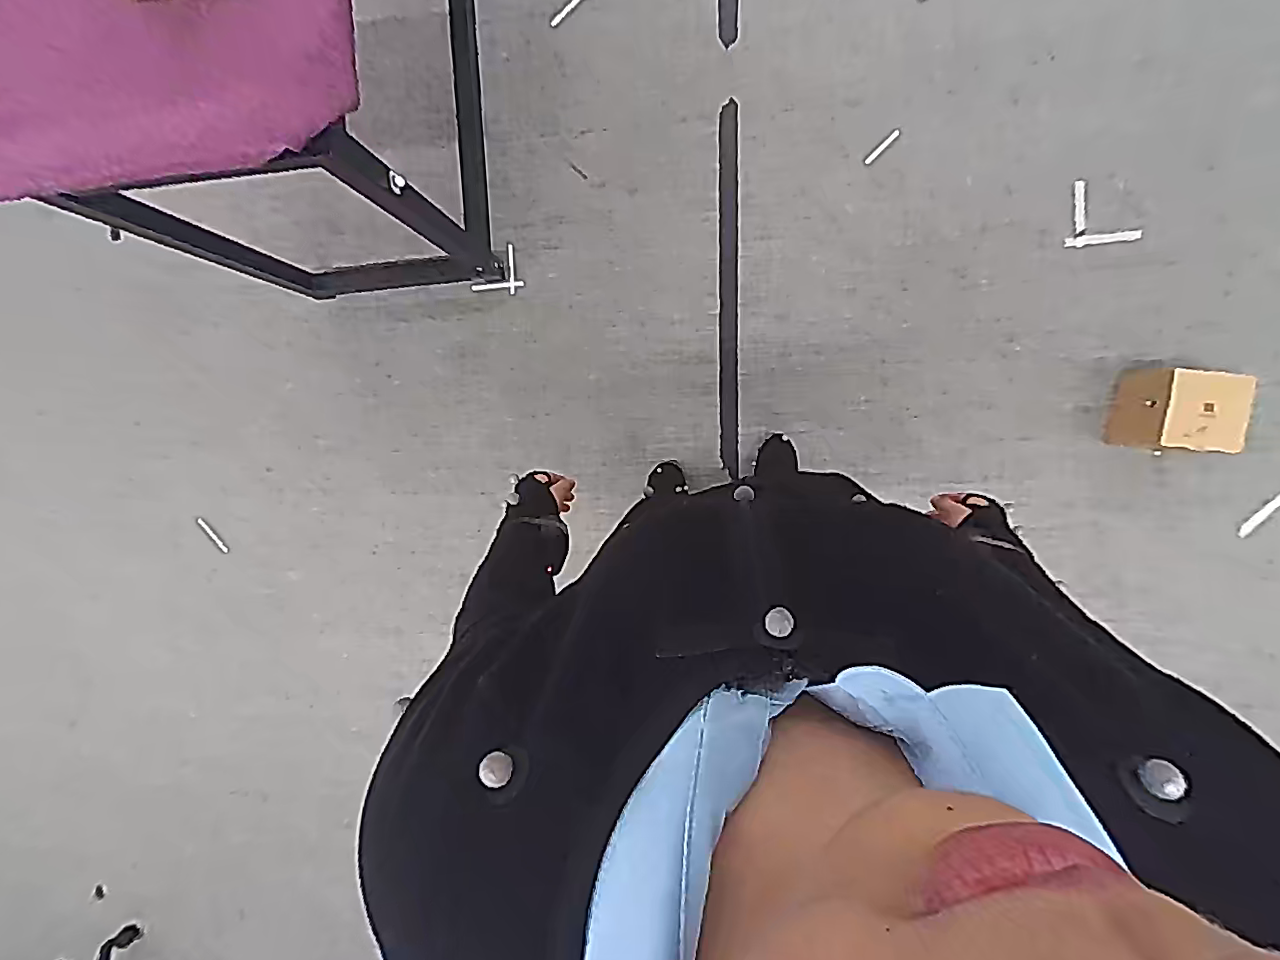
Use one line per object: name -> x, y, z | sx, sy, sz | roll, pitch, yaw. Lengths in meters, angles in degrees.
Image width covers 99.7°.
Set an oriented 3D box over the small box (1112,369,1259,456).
small box -> 1.265, -0.156, 1.271 | 0.168, 0.176, 0.179 | 8, 95, 7
